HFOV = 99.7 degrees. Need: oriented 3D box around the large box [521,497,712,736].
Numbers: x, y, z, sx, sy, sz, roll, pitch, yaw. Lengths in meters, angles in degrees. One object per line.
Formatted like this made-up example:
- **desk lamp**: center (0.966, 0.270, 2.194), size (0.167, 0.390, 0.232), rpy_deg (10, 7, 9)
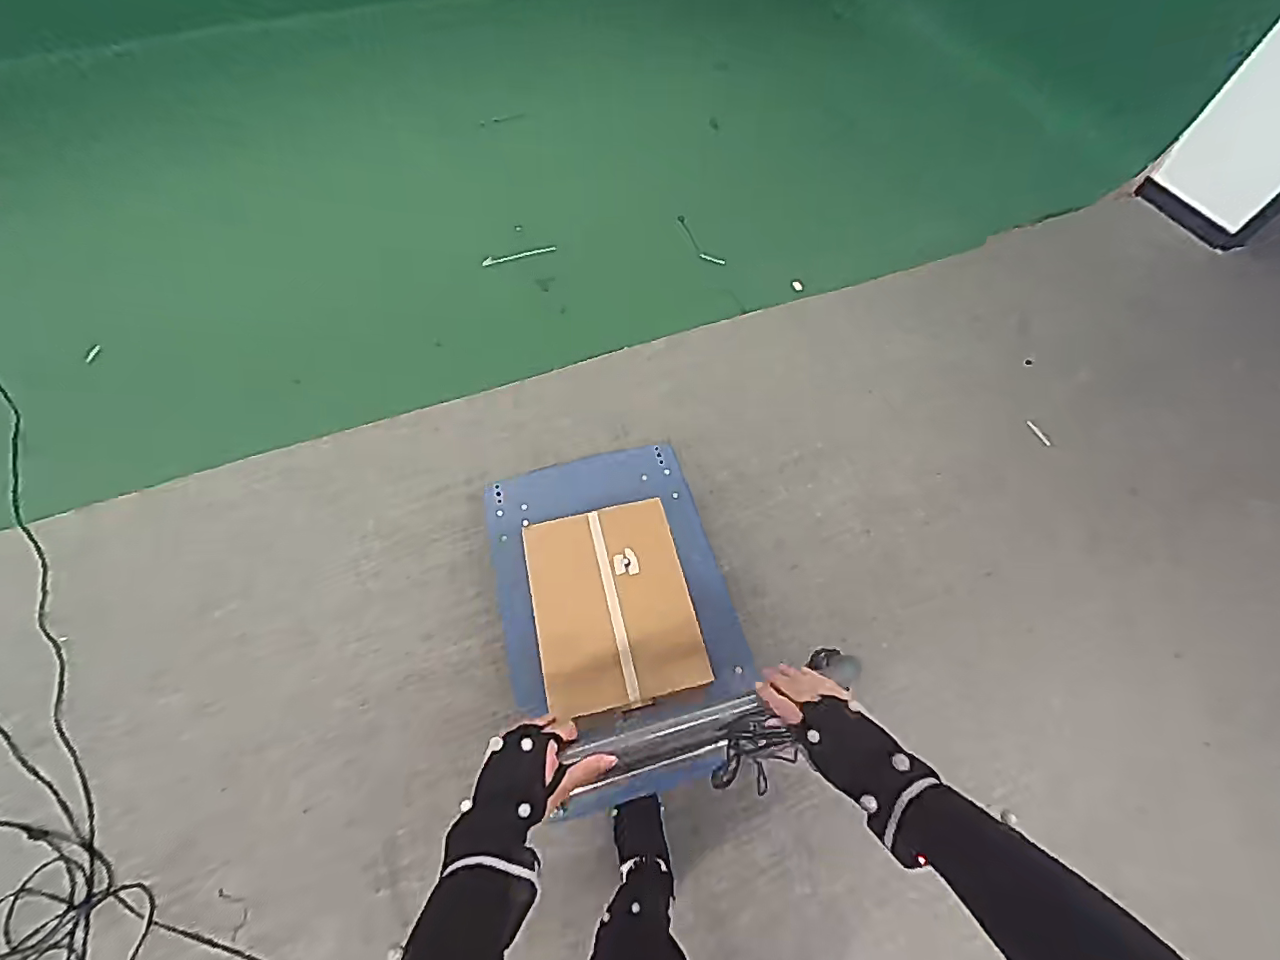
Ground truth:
- **large box**: center (-0.058, 0.310, 1.210), size (0.320, 0.320, 0.408), rpy_deg (-12, 60, -8)
